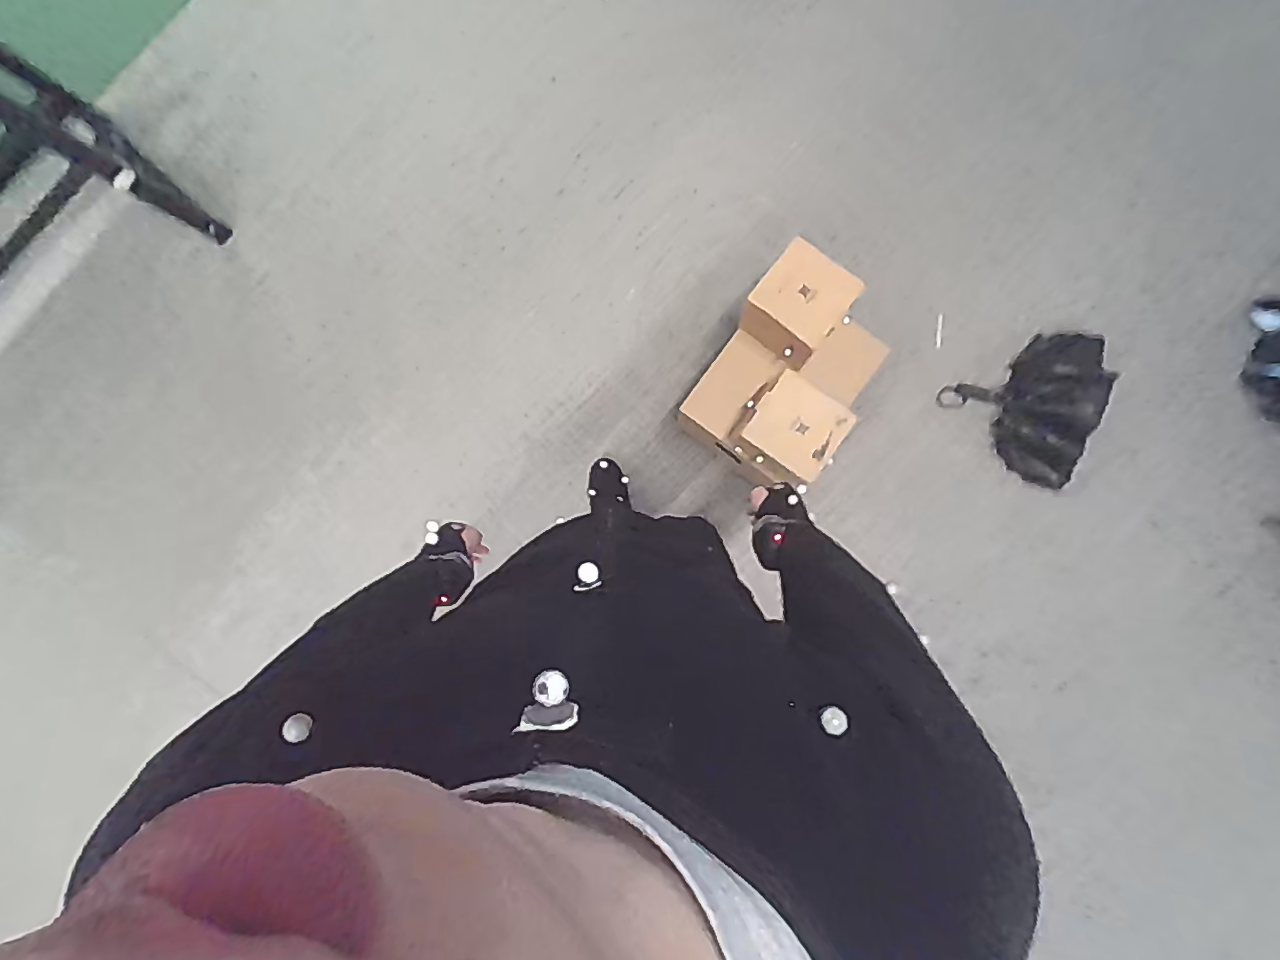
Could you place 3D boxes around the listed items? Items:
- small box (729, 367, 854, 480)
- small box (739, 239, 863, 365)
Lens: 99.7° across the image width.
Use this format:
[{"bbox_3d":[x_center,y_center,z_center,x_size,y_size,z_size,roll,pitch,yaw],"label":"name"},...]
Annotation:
[{"bbox_3d":[0.310,-0.109,1.152,0.179,0.176,0.168,36,91,2],"label":"small box"},{"bbox_3d":[0.334,-0.367,1.158,0.179,0.176,0.168,39,90,7],"label":"small box"}]
